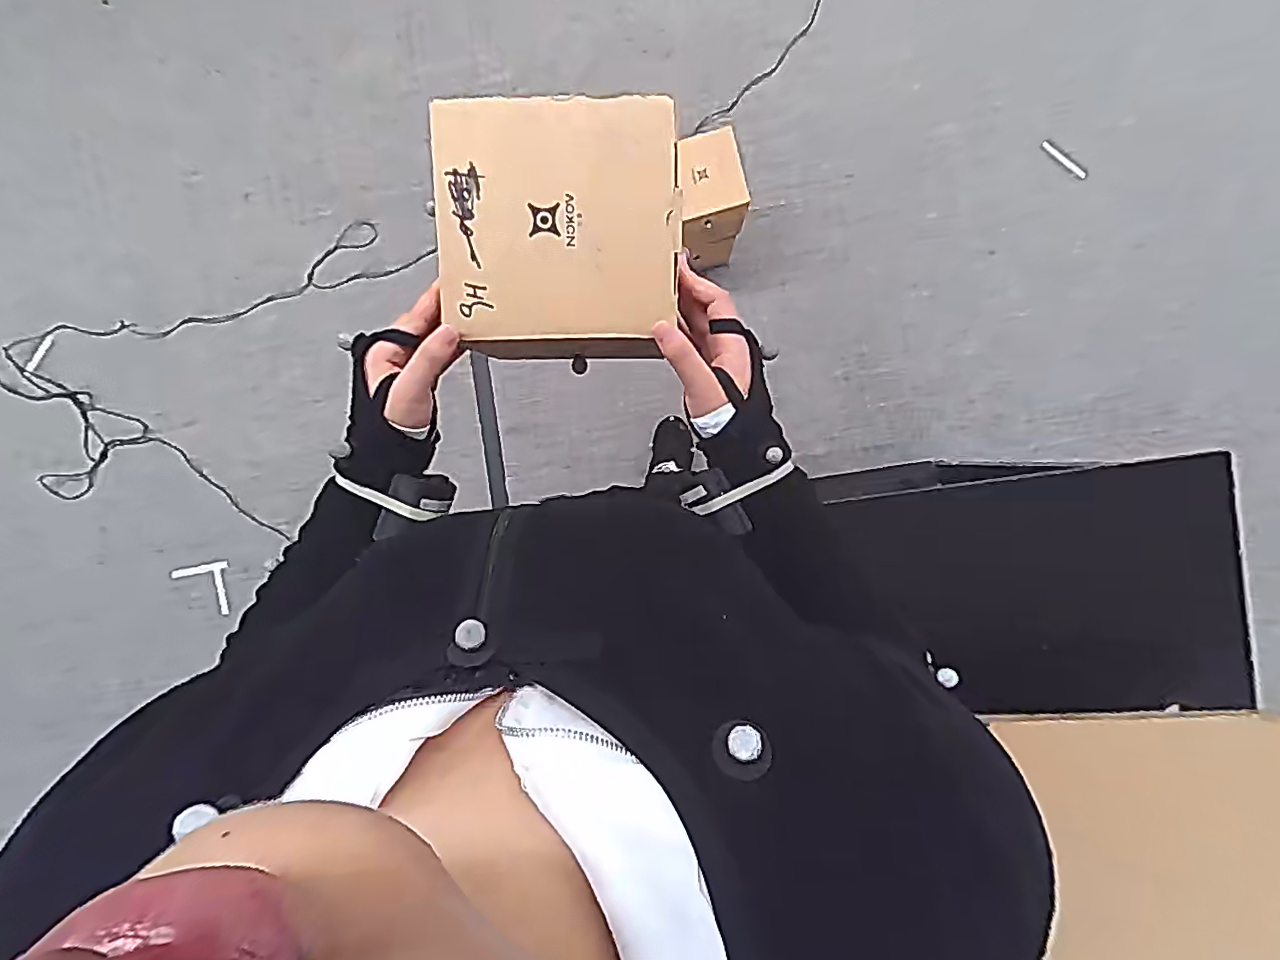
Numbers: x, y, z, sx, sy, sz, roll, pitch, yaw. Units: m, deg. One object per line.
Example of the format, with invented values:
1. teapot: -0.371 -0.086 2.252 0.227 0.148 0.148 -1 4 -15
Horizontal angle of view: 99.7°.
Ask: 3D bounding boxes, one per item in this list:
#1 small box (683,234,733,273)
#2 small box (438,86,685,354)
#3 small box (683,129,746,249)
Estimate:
1. small box: 0.129 -0.645 1.385 0.179 0.176 0.168 -12 91 4
2. small box: -0.058 -0.203 0.470 0.179 0.176 0.168 -1 96 -2
3. small box: 0.127 -0.643 1.222 0.179 0.176 0.168 -15 91 2
